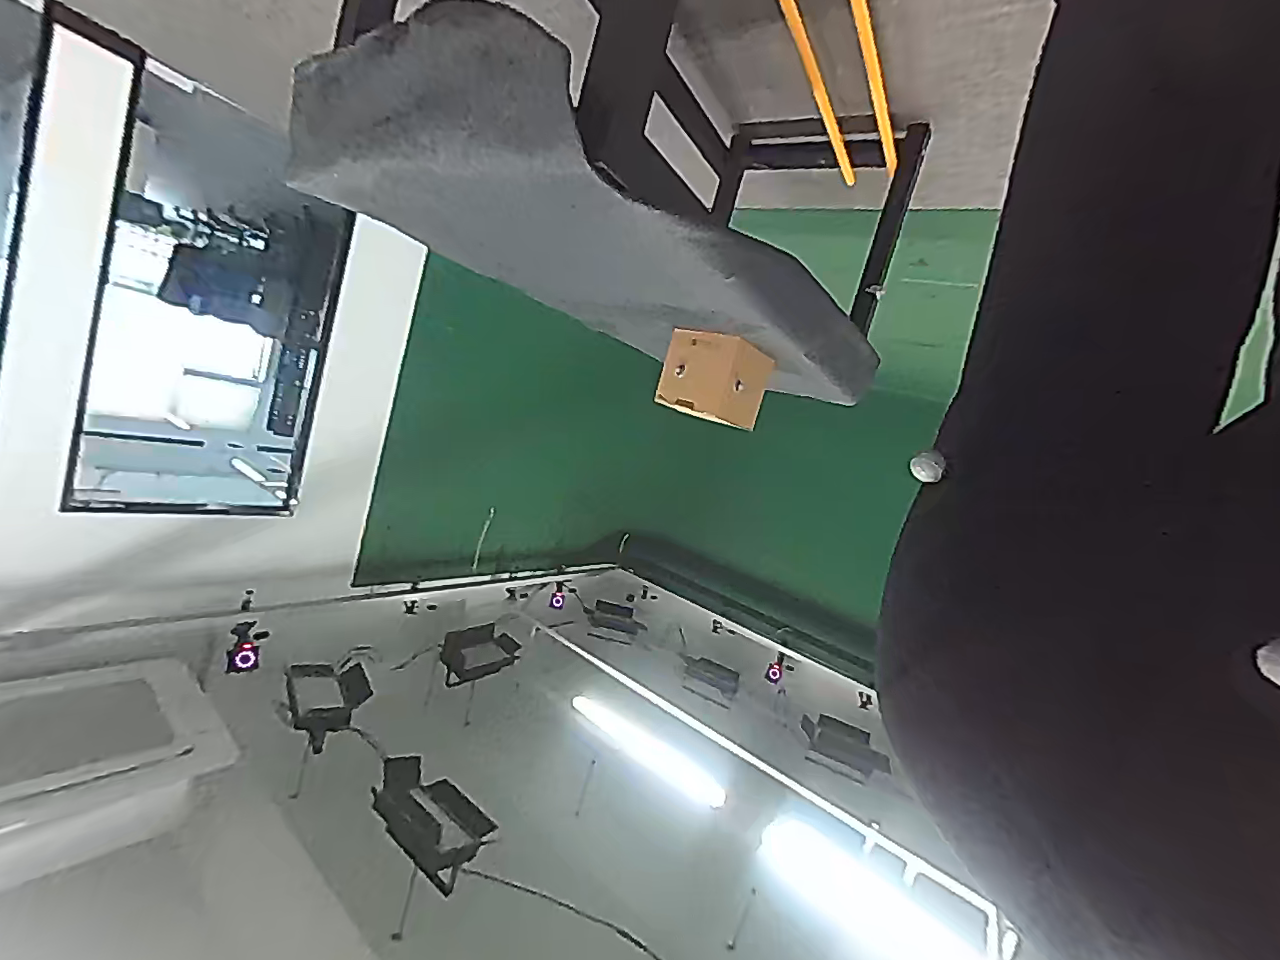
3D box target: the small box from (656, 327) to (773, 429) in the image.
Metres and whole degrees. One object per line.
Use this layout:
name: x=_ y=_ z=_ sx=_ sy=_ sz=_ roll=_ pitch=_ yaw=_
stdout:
small box: x=0.166 y=-0.224 z=1.184 sx=0.168 sy=0.176 sz=0.179 roll=22 pitch=-171 yaw=36
